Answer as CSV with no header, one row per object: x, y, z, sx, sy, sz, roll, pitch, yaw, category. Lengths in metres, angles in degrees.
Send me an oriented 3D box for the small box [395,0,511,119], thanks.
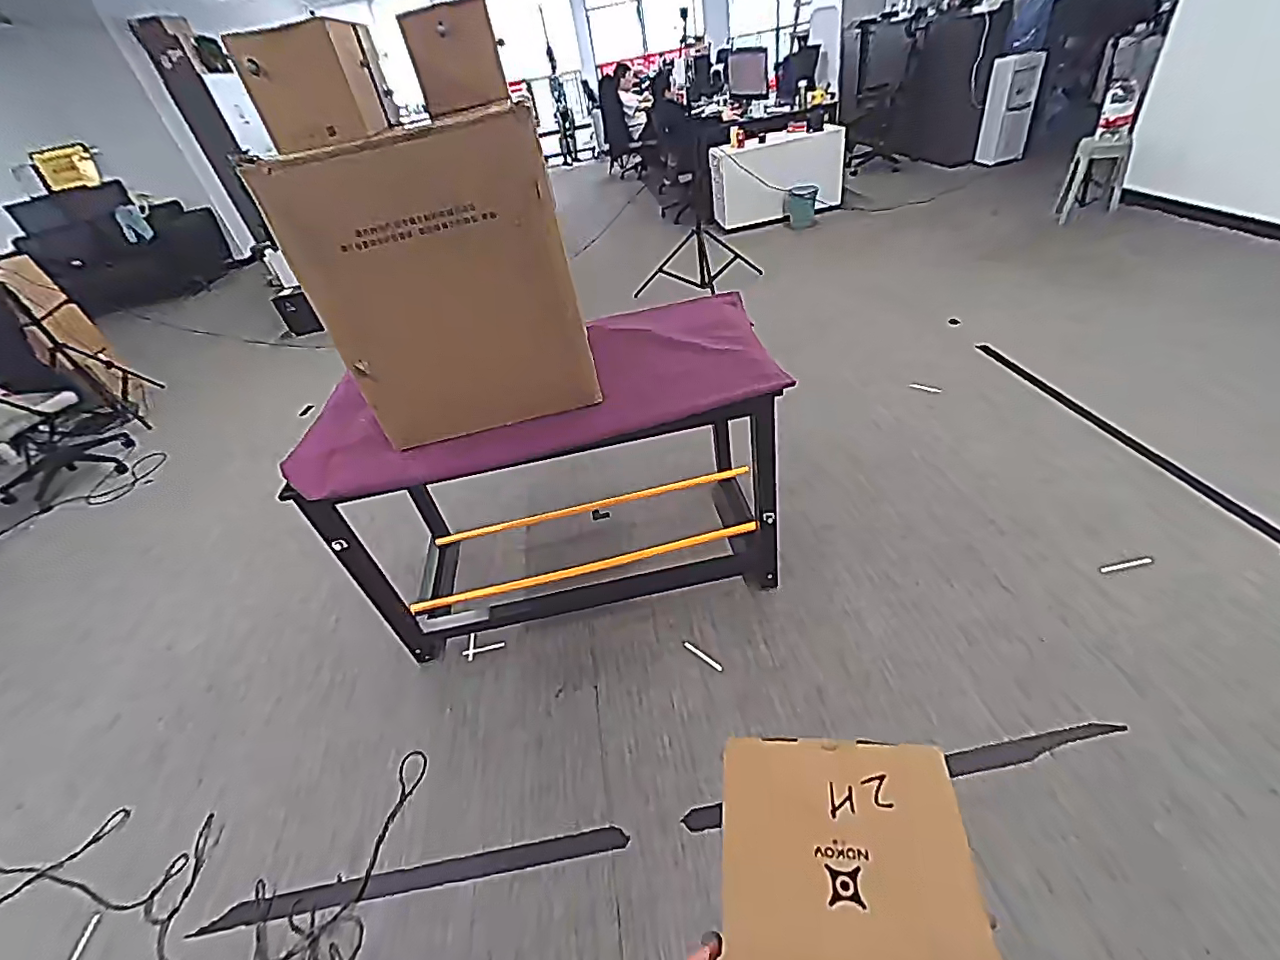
-0.377,-0.877,1.126,0.179,0.176,0.168,-15,39,-1,small box
